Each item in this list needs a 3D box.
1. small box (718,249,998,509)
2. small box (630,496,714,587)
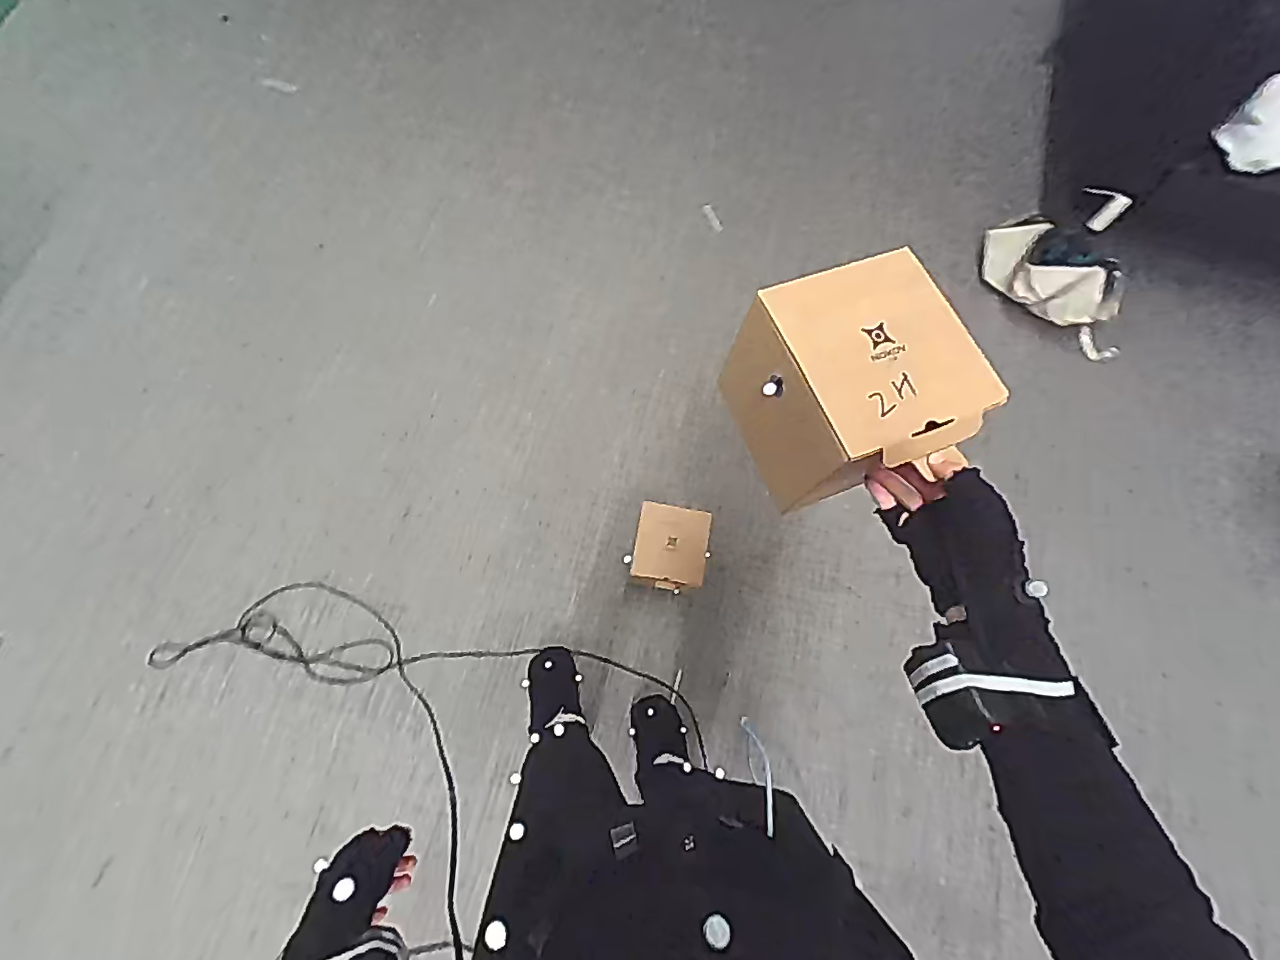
[{"bbox_3d":[0.198,-0.093,0.550,0.168,0.176,0.179,-21,74,-12],"label":"small box"},{"bbox_3d":[0.071,0.154,1.290,0.168,0.176,0.179,11,74,-1],"label":"small box"}]
